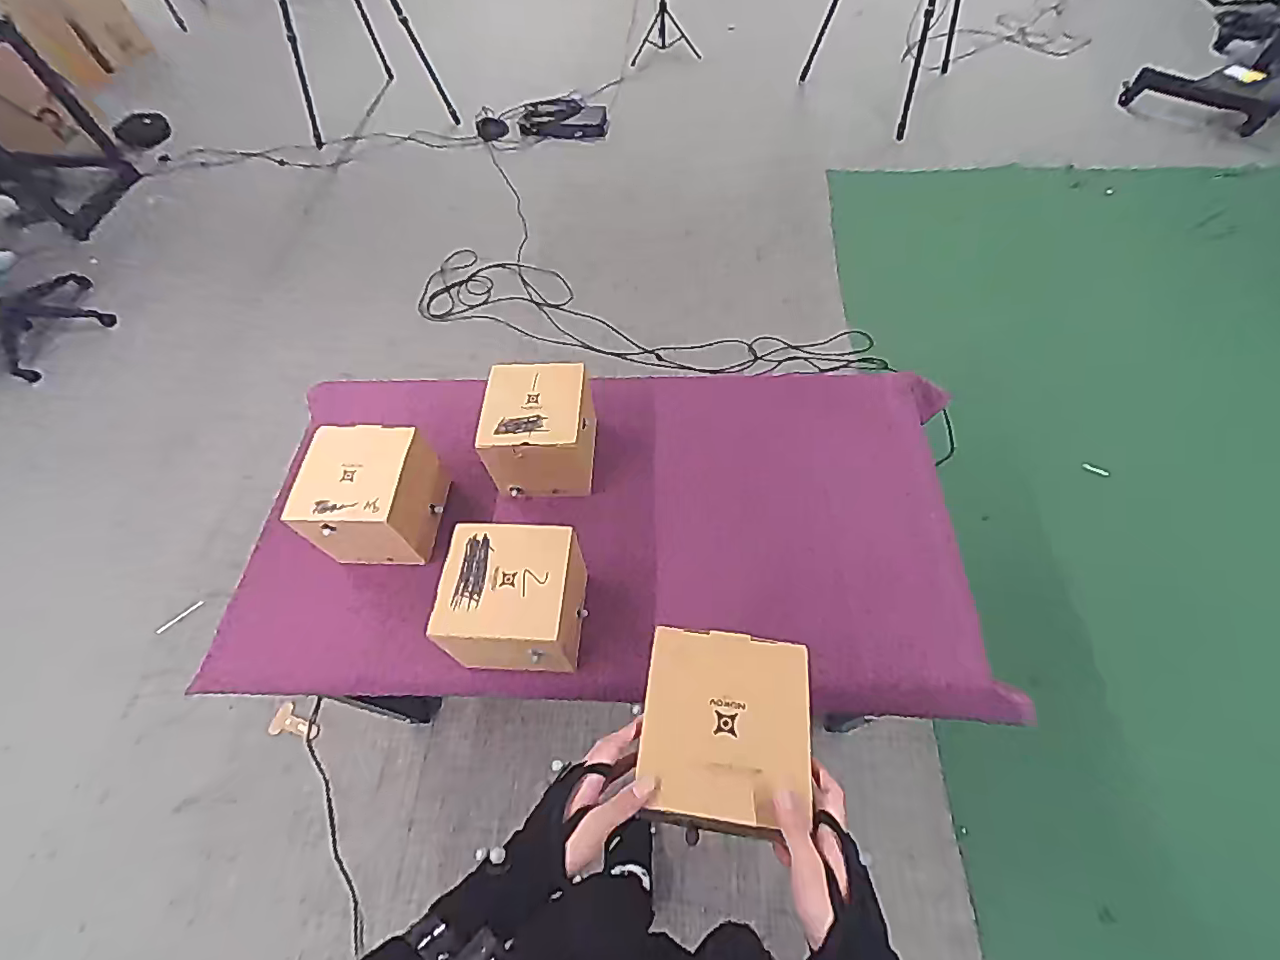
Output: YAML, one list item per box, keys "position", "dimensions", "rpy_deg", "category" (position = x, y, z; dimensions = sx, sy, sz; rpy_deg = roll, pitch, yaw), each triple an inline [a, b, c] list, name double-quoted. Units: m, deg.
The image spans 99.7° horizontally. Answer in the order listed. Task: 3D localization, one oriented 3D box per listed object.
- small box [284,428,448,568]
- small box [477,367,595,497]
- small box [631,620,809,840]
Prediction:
- position: [-0.443, 0.032, 0.912]
  dimensions: [0.168, 0.176, 0.179]
  rpy_deg: [0, 58, 5]
  category: "small box"
- position: [-0.174, -0.079, 0.967]
  dimensions: [0.168, 0.176, 0.179]
  rpy_deg: [-1, 58, 3]
  category: "small box"
- position: [0.086, 0.281, 0.602]
  dimensions: [0.168, 0.176, 0.179]
  rpy_deg: [6, 54, 7]
  category: "small box"
